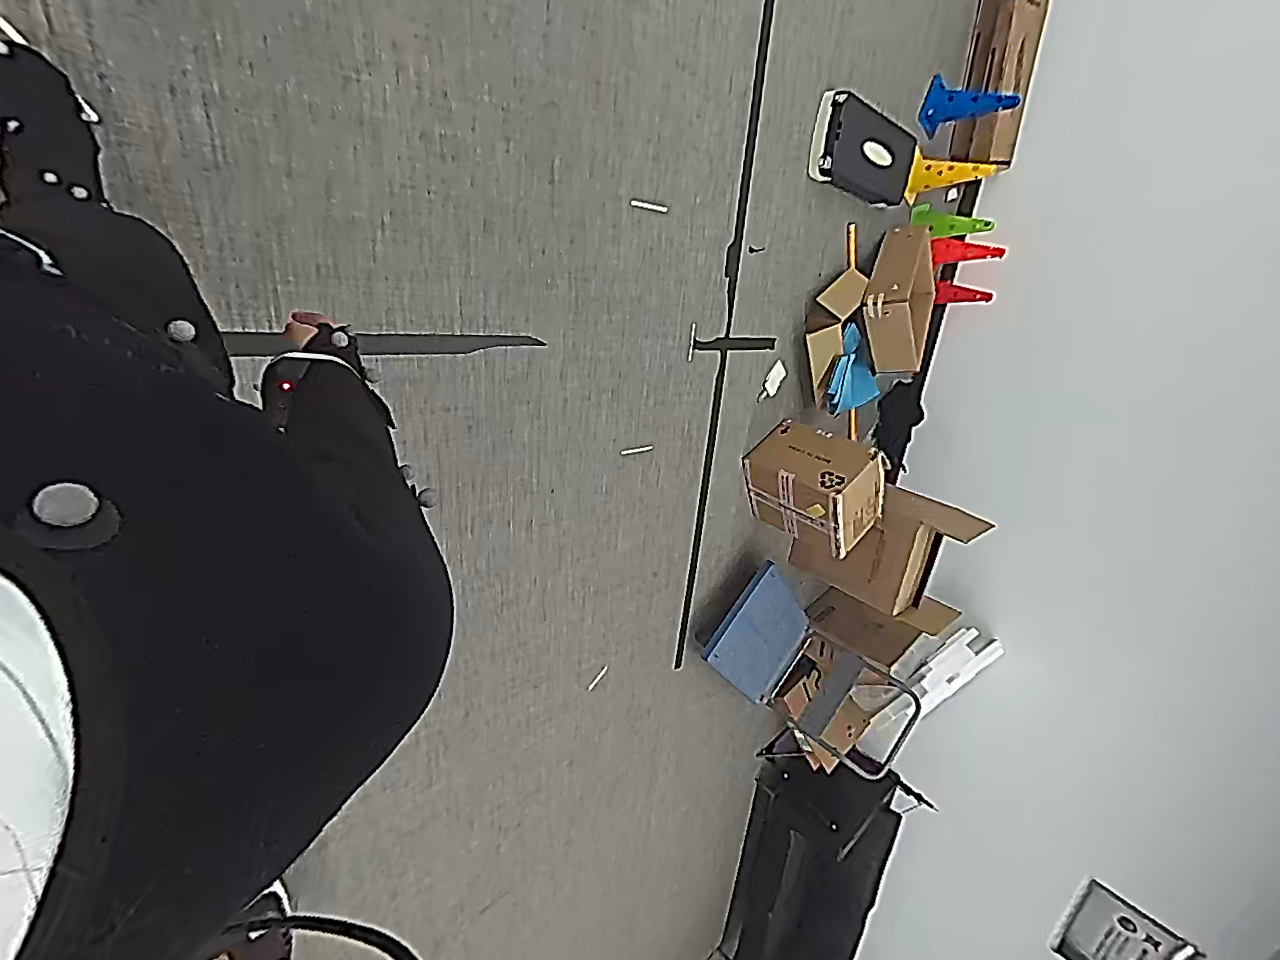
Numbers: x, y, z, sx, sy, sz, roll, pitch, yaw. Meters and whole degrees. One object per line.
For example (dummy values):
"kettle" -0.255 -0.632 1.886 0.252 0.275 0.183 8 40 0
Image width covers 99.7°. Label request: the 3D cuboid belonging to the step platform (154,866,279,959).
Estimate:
"step platform" -1.264 1.270 1.275 0.684 0.204 0.286 -14 119 -42
